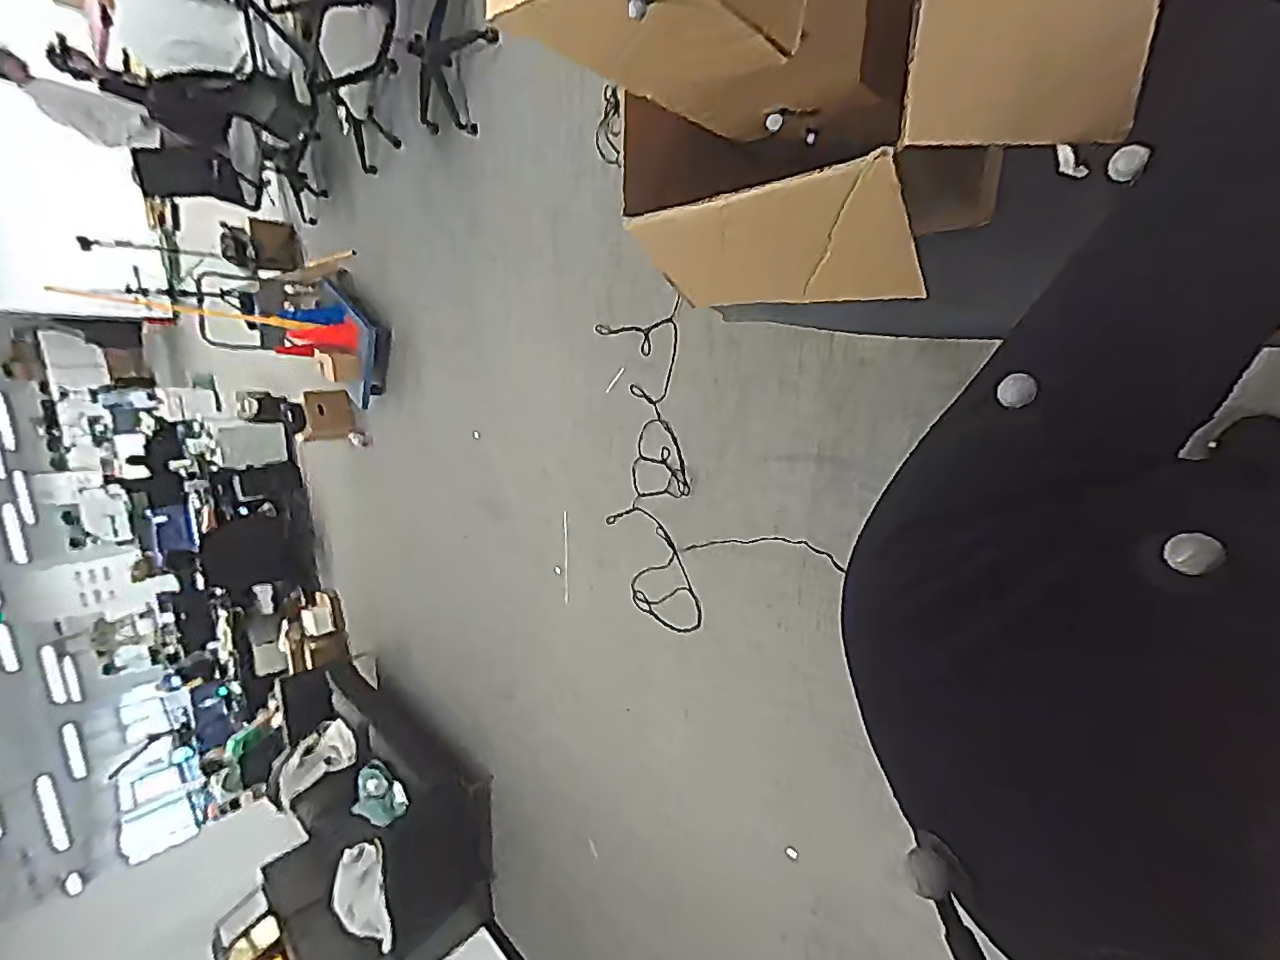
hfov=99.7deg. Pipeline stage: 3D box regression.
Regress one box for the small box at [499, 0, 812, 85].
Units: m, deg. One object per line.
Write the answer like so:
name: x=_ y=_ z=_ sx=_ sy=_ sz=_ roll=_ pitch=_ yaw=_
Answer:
small box: x=0.019 y=-0.419 z=0.393 sx=0.179 sy=0.176 sz=0.168 roll=22 pitch=114 yaw=39
